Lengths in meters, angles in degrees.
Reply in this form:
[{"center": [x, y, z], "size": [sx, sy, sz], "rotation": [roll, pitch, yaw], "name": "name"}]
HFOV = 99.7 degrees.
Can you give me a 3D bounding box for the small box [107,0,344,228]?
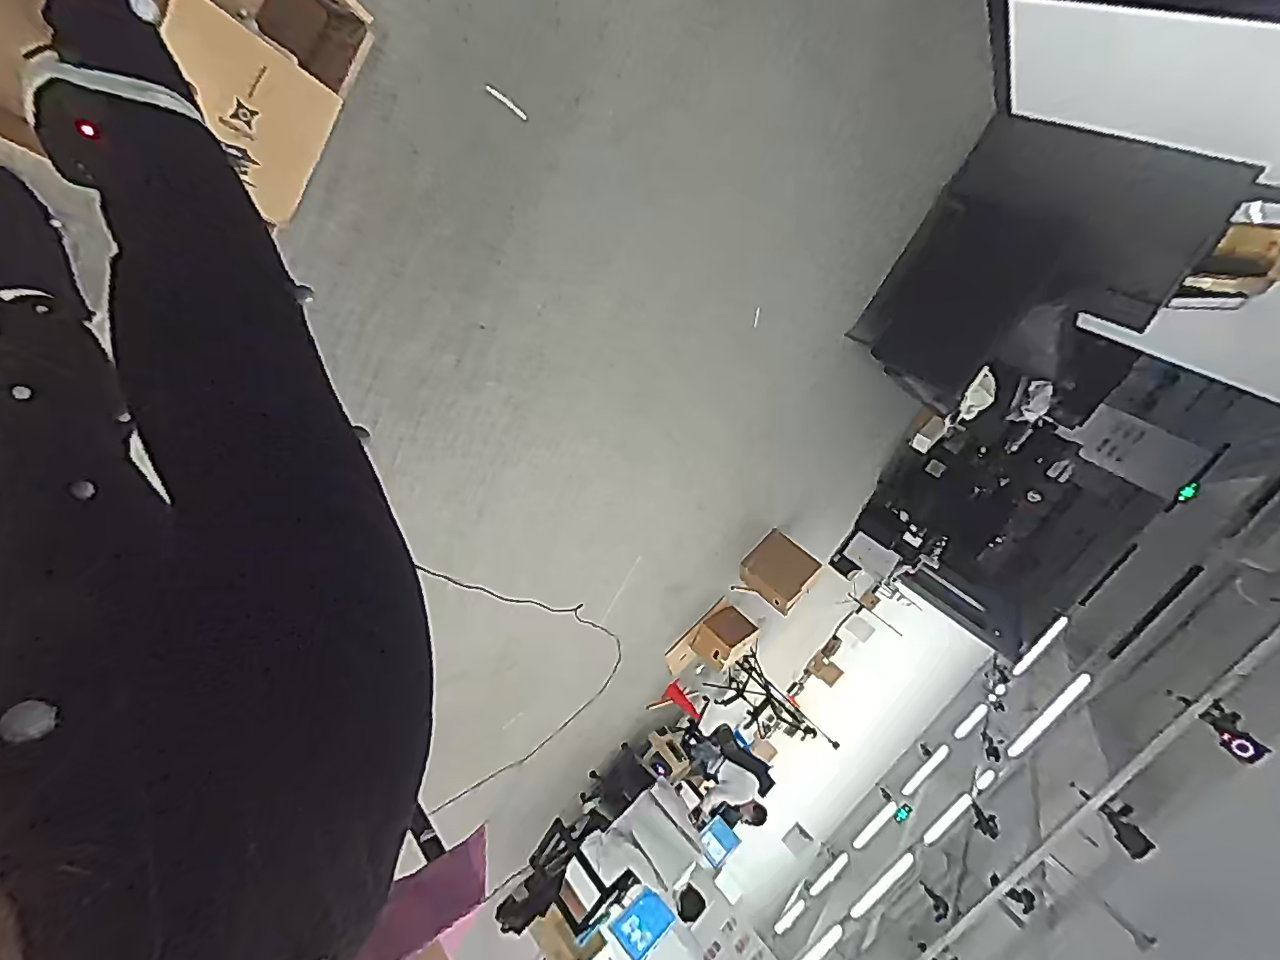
[{"center": [-0.501, -0.449, 0.652], "size": [0.179, 0.176, 0.168], "rotation": [-57, 149, 11], "name": "small box"}]
